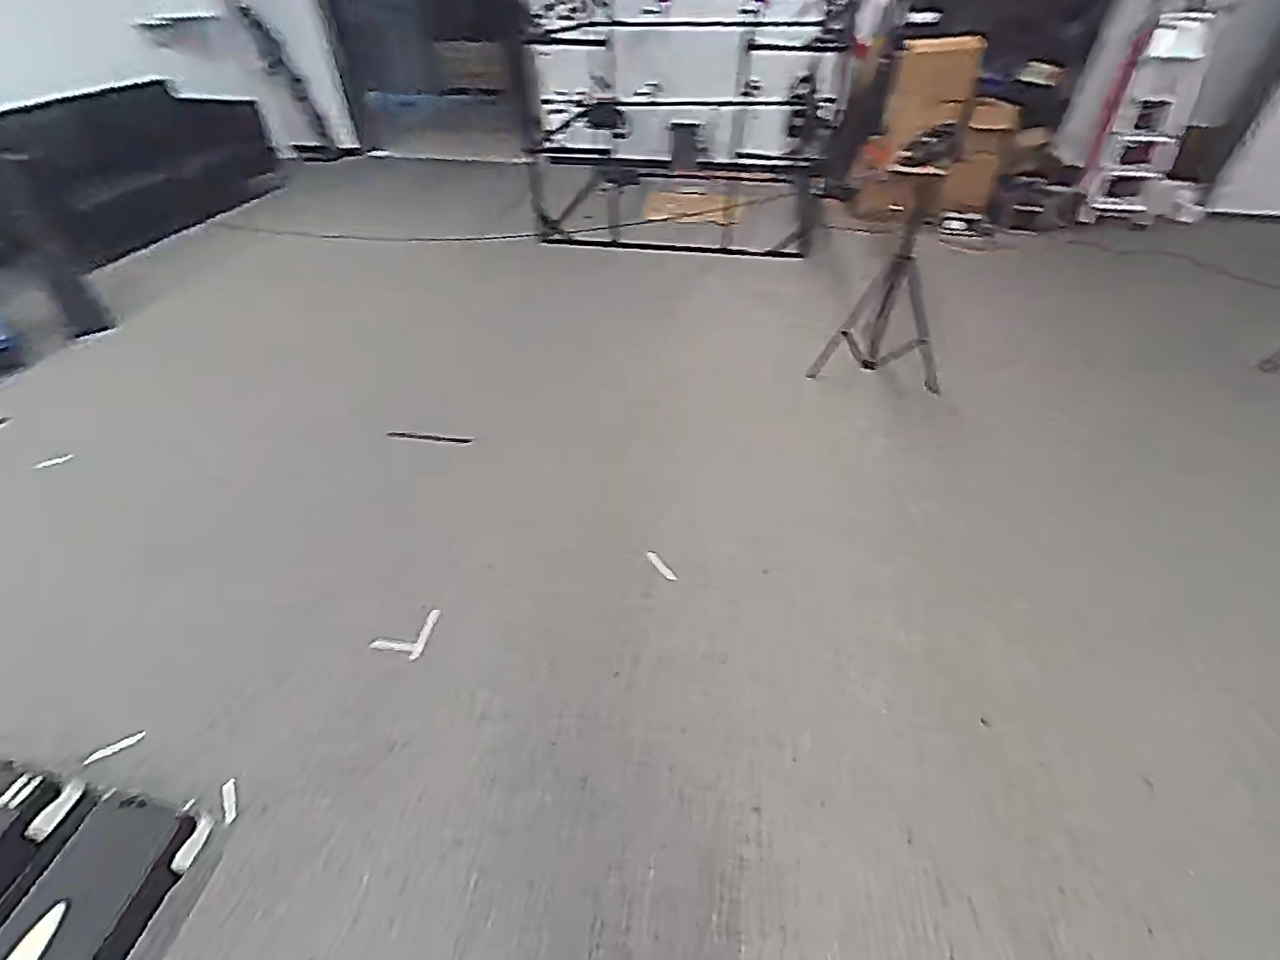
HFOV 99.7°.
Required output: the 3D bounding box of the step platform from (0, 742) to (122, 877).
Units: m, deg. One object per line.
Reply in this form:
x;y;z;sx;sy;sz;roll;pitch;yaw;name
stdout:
-1.488;0.907;1.092;0.286;0.204;0.684;6;42;6;step platform
